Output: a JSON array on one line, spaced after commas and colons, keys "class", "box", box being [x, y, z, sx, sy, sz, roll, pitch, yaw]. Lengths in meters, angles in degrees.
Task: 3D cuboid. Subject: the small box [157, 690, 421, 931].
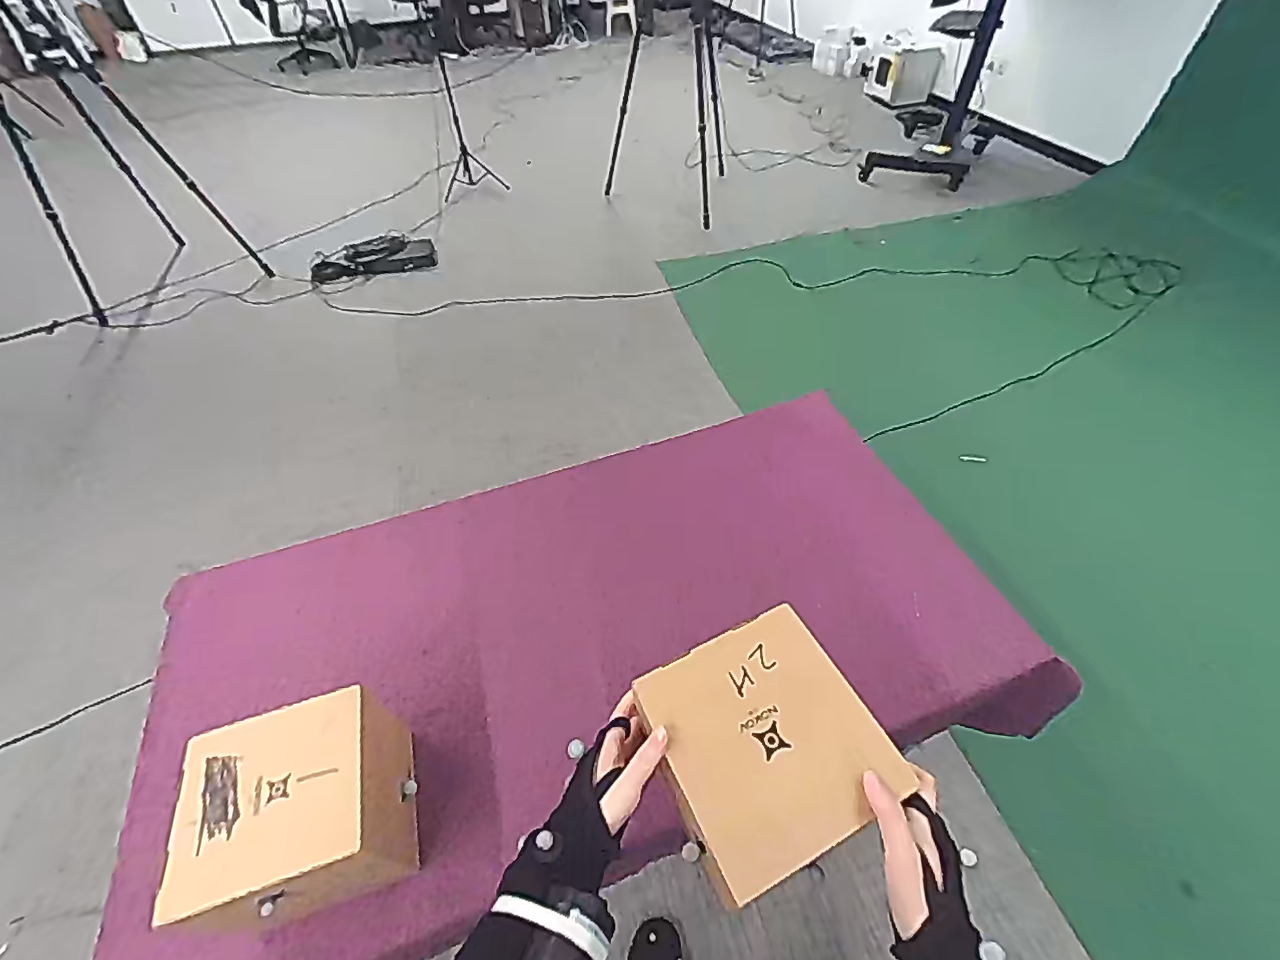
[{"class": "small box", "box": [-0.361, 0.365, 0.596, 0.179, 0.176, 0.168, -15, 50, -11]}]
